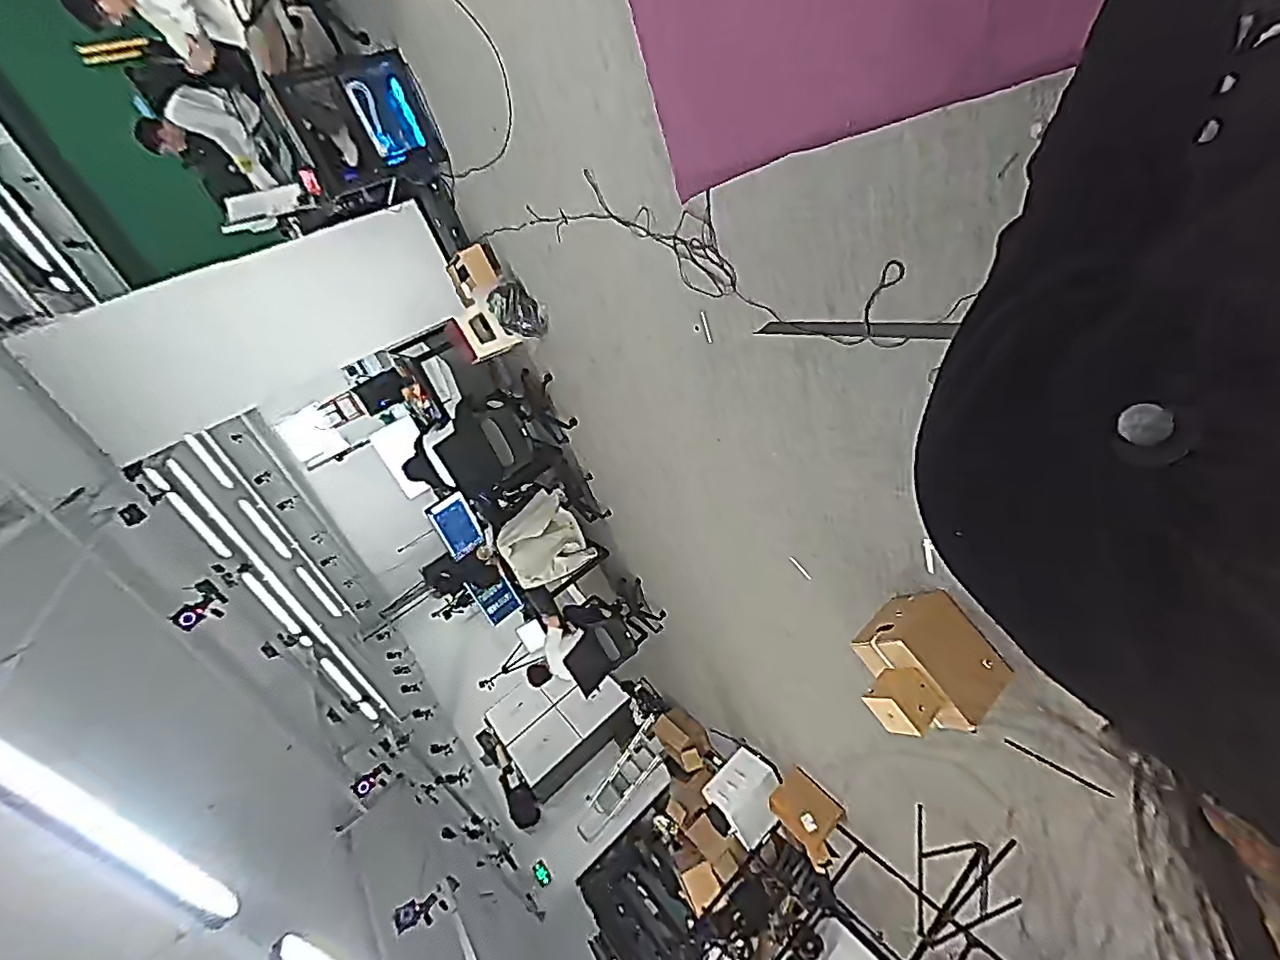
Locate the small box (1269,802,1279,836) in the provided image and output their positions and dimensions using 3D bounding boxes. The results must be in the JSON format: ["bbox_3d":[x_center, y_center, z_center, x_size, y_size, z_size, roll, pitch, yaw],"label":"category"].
[{"bbox_3d":[1.774,0.915,1.360,0.179,0.176,0.168,50,155,8],"label":"small box"}]

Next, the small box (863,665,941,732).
[{"bbox_3d":[0.986,0.809,2.020,0.168,0.176,0.179,52,156,6],"label":"small box"}]

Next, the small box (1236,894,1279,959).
[{"bbox_3d":[1.538,1.096,1.226,0.179,0.176,0.168,48,155,10],"label":"small box"}]

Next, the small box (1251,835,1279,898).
[{"bbox_3d":[1.655,1.004,1.295,0.179,0.176,0.168,50,155,10],"label":"small box"}]
